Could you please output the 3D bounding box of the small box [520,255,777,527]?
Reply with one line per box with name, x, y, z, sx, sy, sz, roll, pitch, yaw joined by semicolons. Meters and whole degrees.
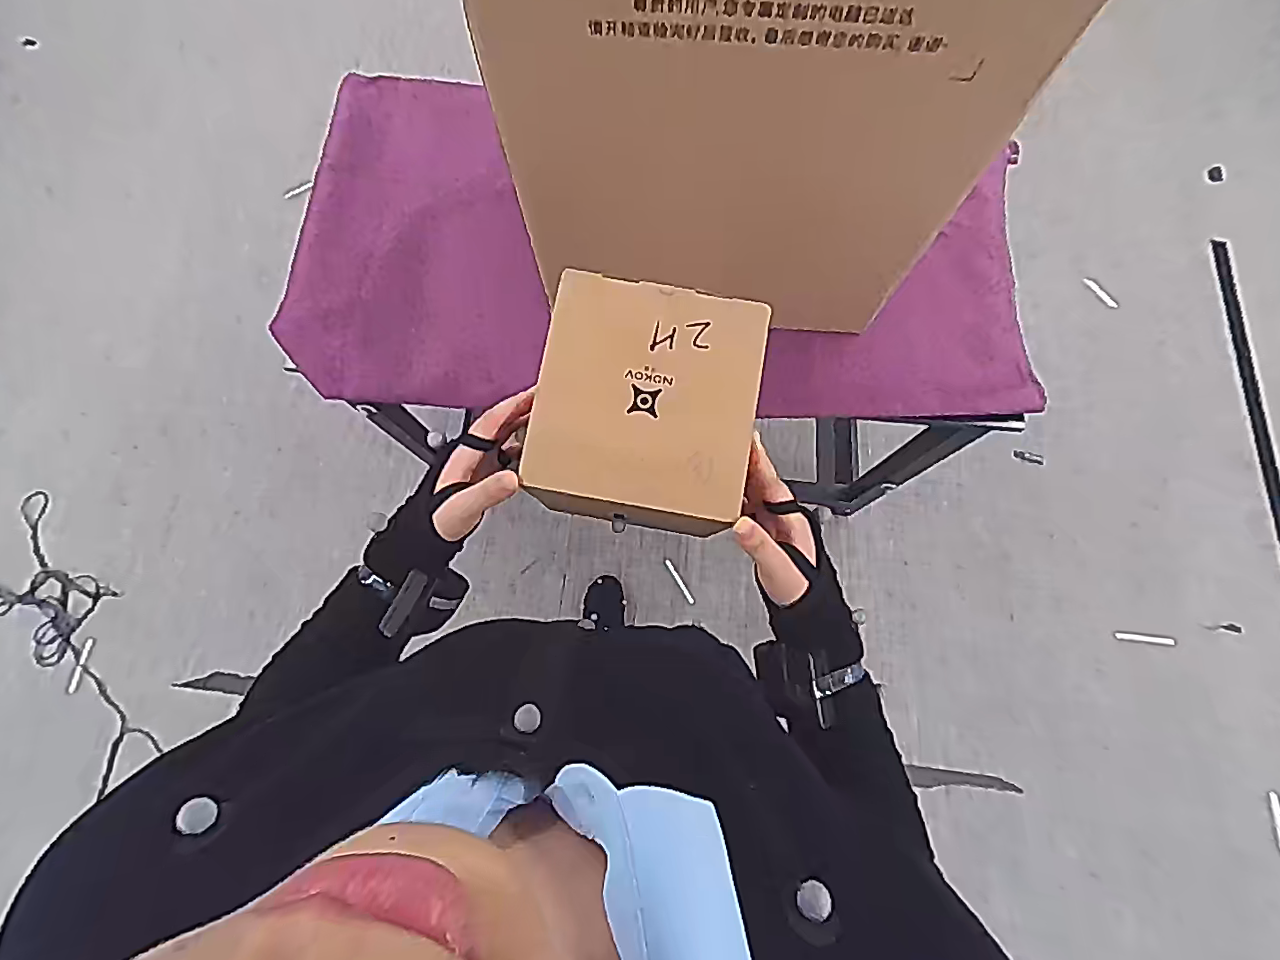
small box;0.008;-0.060;0.475;0.168;0.176;0.179;11;80;0
